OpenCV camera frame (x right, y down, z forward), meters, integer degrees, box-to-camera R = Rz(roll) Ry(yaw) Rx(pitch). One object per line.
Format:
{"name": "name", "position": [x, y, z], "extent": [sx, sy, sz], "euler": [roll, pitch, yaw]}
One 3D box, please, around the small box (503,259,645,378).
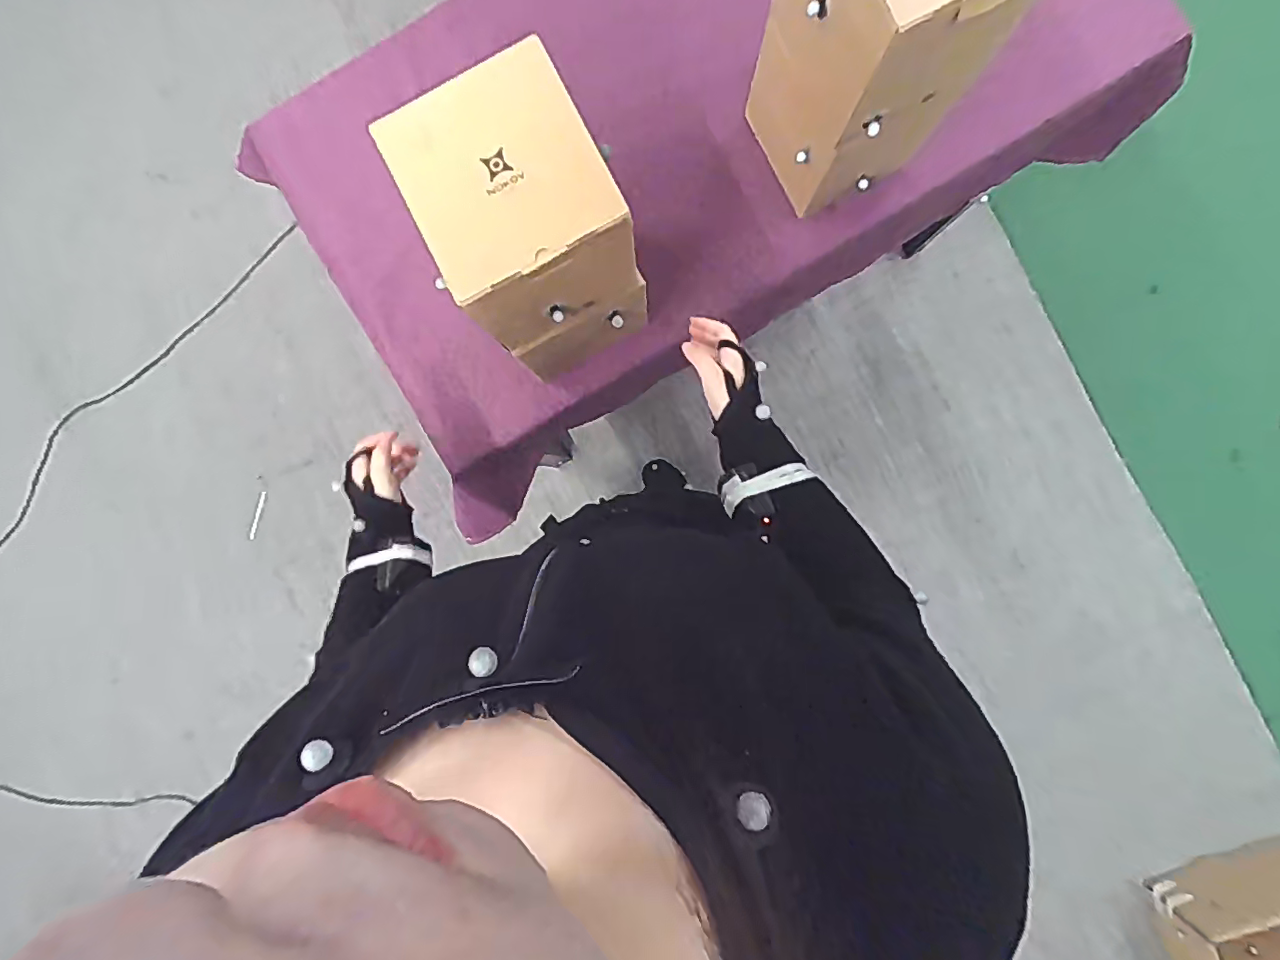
{"name": "small box", "position": [-0.105, -0.253, 0.702], "extent": [0.179, 0.176, 0.168], "euler": [-28, 88, 2]}

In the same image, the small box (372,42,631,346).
{"name": "small box", "position": [-0.119, -0.261, 0.539], "extent": [0.168, 0.176, 0.179], "euler": [-27, 89, 2]}

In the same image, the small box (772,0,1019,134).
{"name": "small box", "position": [0.247, -0.477, 0.520], "extent": [0.168, 0.176, 0.179], "euler": [-25, 88, 3]}
